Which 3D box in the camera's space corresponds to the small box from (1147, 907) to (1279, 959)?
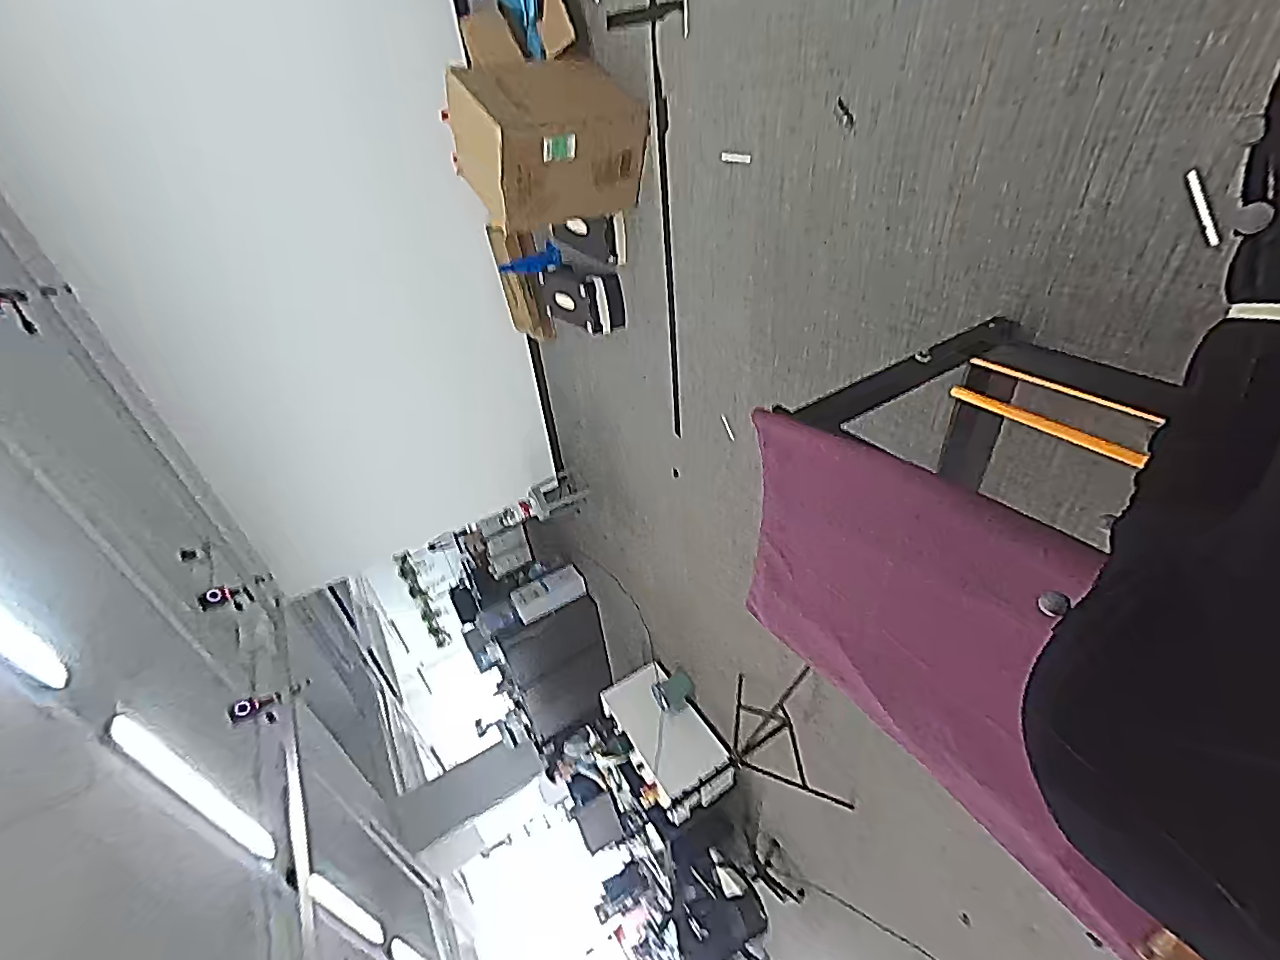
[{"bbox_3d":[0.713,0.652,0.633,0.179,0.176,0.168,39,146,48],"label":"small box"}]
